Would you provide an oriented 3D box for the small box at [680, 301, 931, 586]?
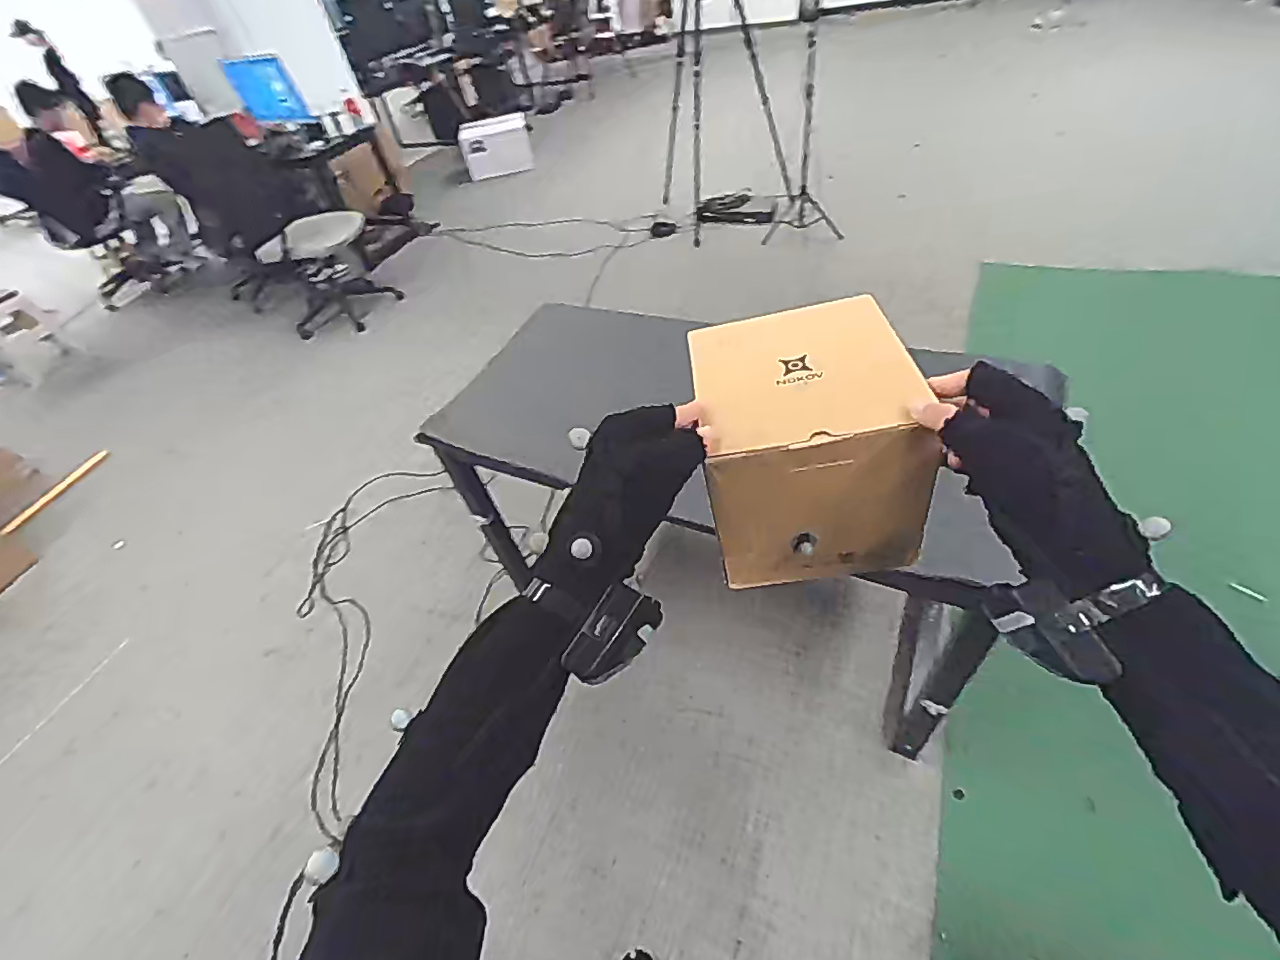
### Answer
[{"bbox_3d":[0.132,-0.030,0.486,0.168,0.176,0.179,-10,45,9],"label":"small box"}]
